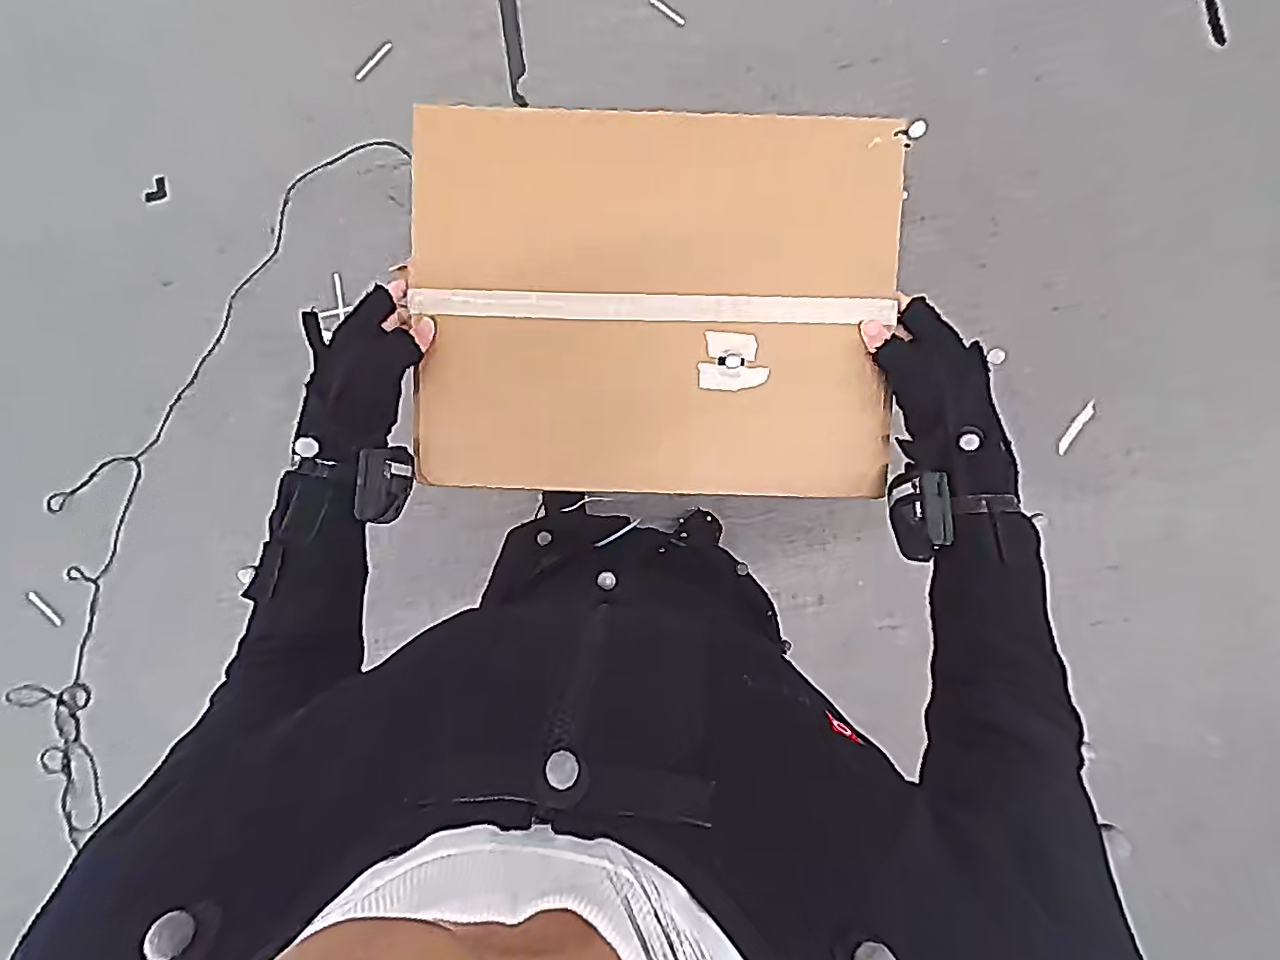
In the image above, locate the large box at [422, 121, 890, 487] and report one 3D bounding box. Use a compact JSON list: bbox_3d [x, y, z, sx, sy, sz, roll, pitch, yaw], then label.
[{"bbox_3d":[0.012,-0.160,0.615,0.408,0.320,0.320,1,95,0],"label":"large box"}]
